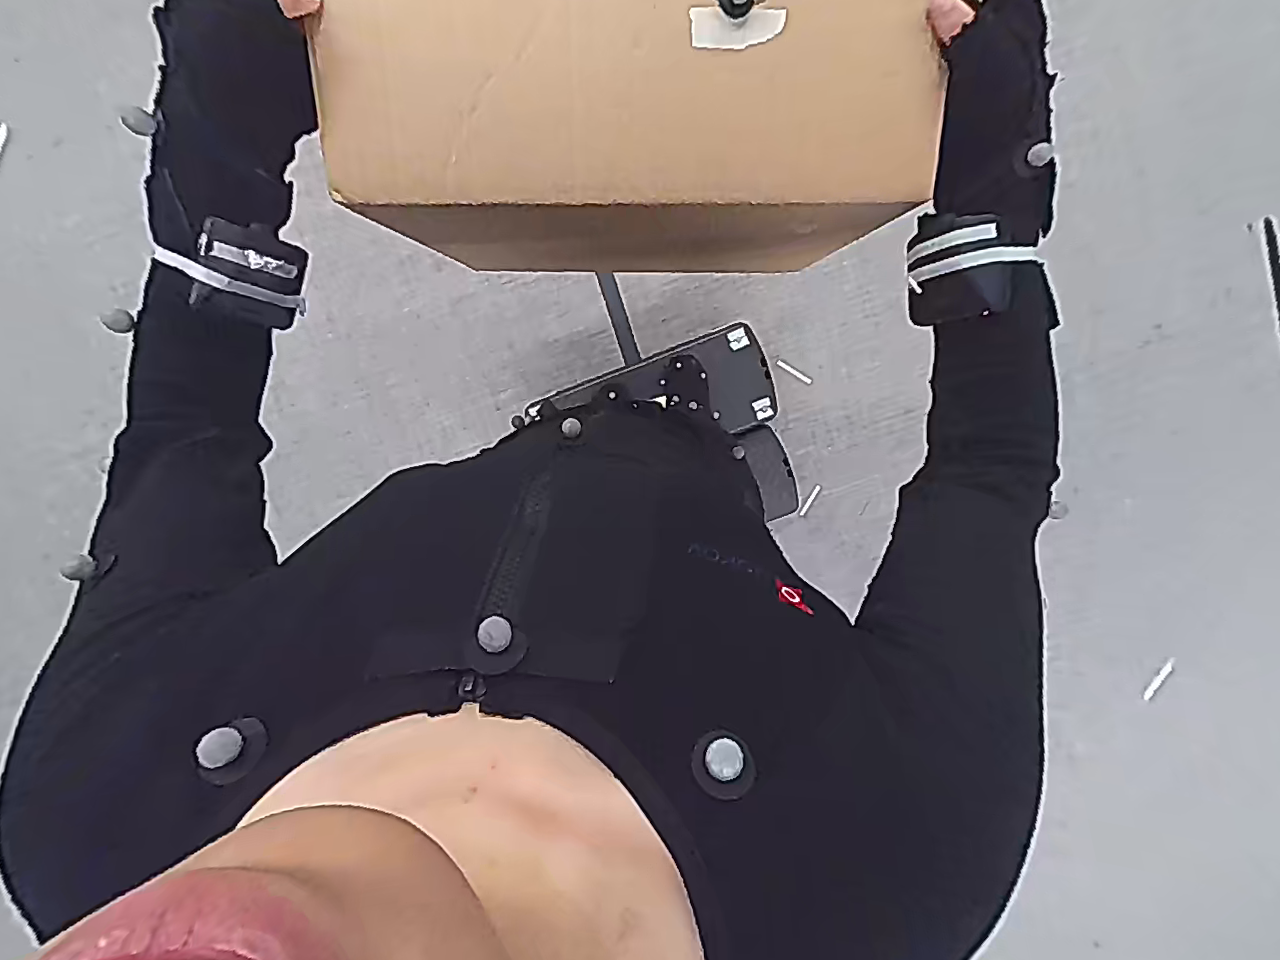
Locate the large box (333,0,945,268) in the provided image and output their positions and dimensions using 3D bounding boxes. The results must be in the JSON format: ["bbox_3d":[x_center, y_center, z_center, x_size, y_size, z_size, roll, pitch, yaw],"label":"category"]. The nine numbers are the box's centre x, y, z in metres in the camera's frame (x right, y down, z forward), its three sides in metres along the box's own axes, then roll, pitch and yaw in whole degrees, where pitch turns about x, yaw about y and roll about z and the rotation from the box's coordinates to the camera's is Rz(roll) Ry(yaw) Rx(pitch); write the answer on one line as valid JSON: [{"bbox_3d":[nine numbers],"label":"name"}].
[{"bbox_3d":[-0.002,-0.381,0.486,0.408,0.320,0.320,0,104,0],"label":"large box"}]

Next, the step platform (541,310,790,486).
[{"bbox_3d":[0.069,-0.229,1.537,0.684,0.204,0.286,-22,99,3],"label":"step platform"}]
